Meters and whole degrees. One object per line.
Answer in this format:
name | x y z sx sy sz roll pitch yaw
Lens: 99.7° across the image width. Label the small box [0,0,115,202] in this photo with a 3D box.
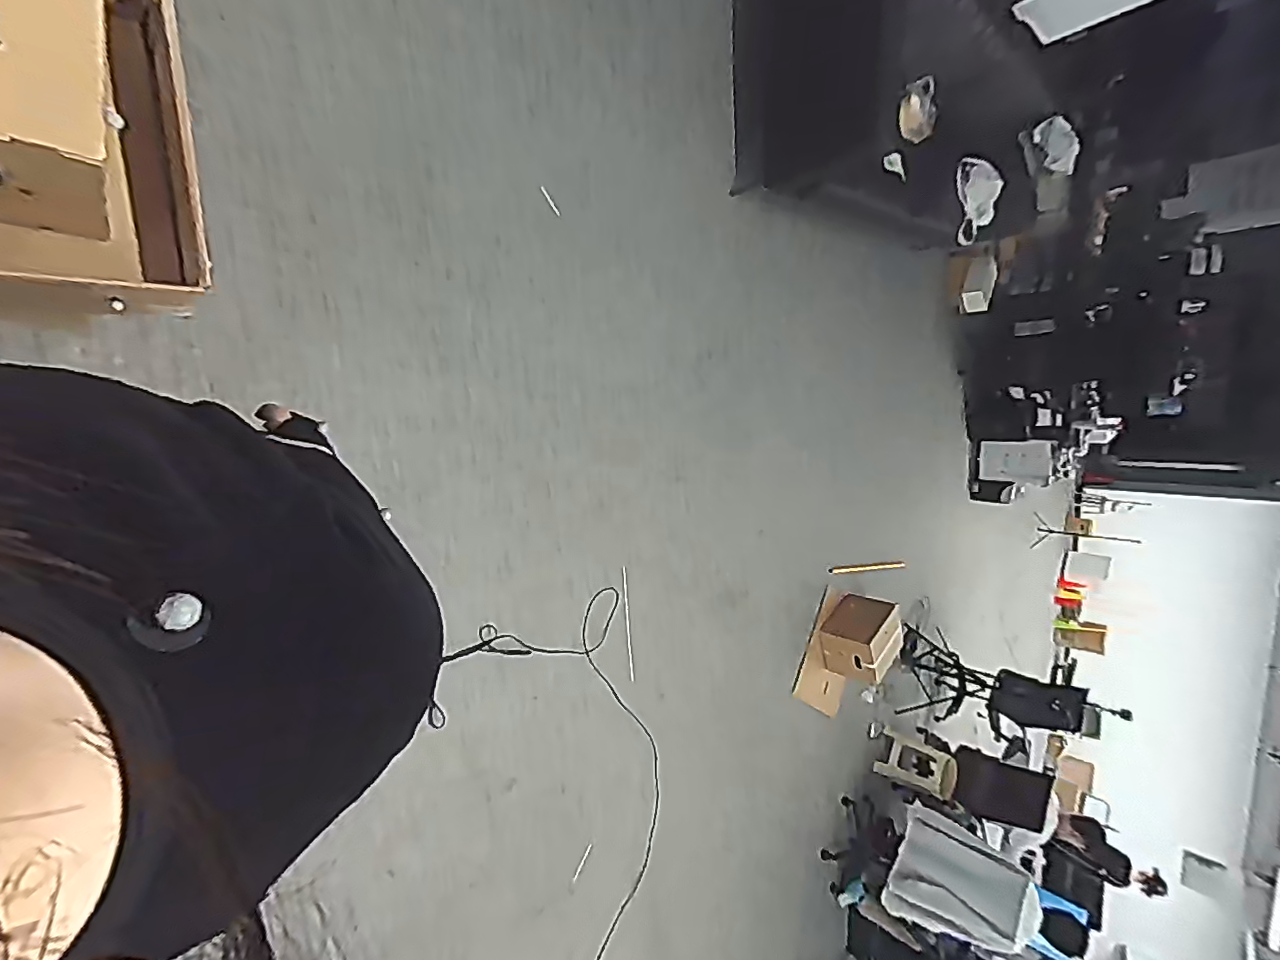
small box | -0.613 -0.390 0.508 0.168 0.176 0.179 -2 97 -43
